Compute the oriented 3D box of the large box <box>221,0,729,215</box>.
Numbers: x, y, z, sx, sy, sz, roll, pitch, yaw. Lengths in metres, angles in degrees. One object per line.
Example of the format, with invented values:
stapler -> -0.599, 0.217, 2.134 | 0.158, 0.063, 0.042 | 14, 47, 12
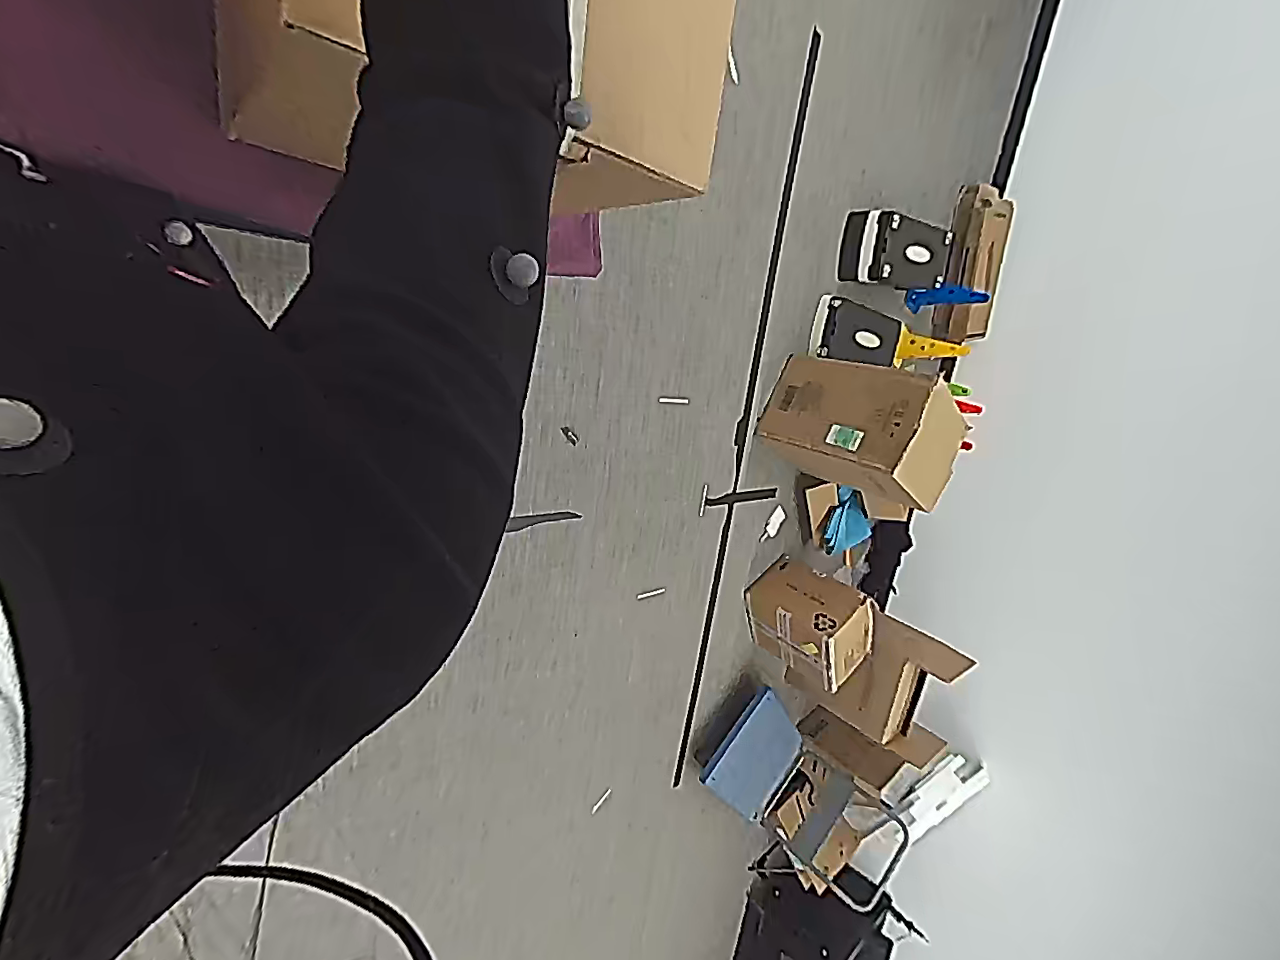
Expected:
large box -> -0.133, -0.466, 0.424 | 0.320, 0.320, 0.408 | -7, 110, -42
